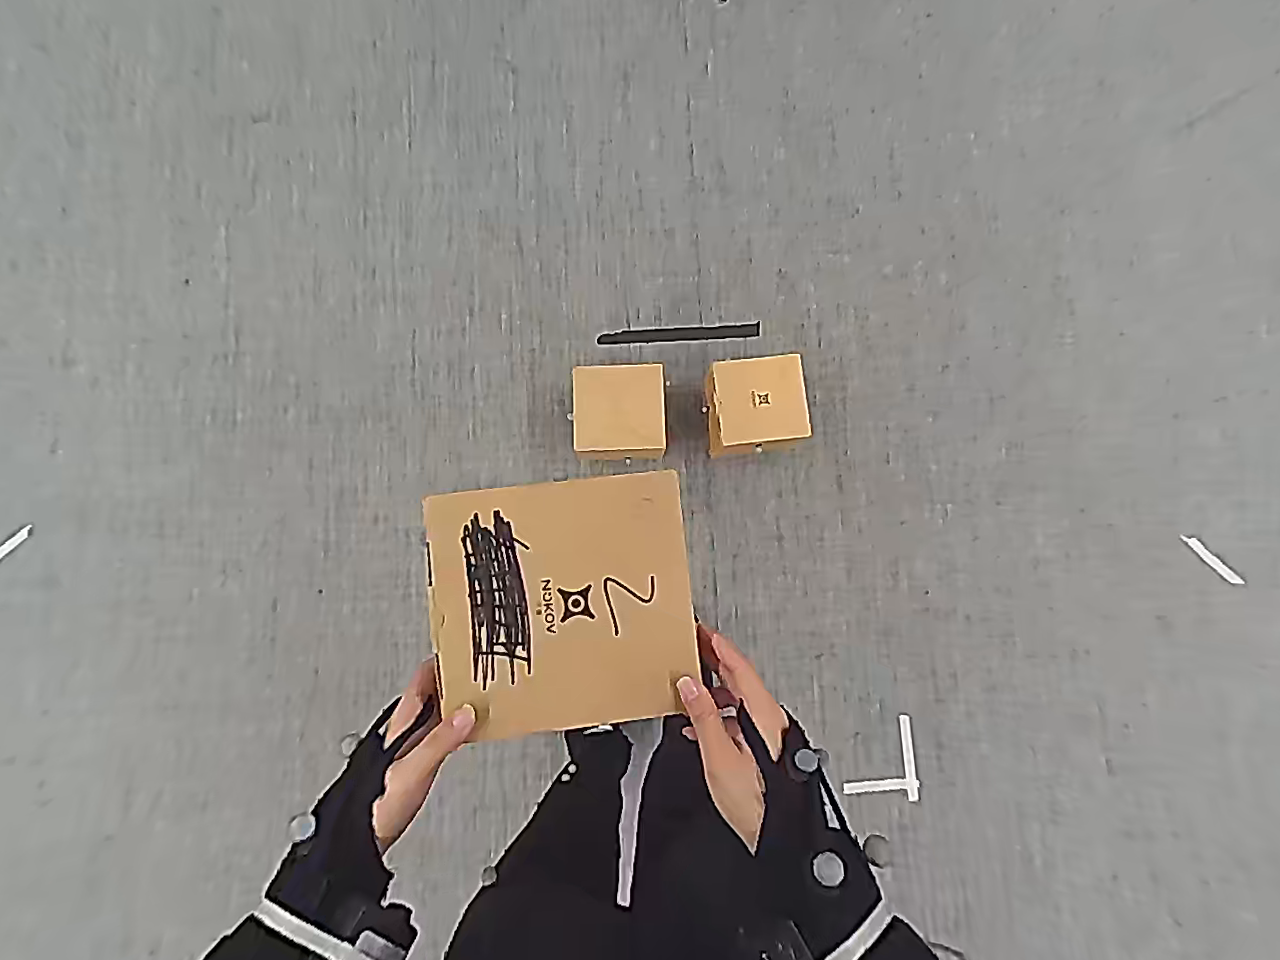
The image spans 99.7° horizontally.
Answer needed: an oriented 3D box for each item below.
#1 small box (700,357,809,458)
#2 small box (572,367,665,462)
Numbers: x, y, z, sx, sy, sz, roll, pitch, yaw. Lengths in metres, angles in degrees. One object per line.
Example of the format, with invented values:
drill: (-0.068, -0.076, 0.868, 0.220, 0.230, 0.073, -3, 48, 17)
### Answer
small box: (0.229, -0.144, 1.118, 0.179, 0.176, 0.168, -7, 85, -1)
small box: (-0.041, -0.129, 1.112, 0.179, 0.176, 0.168, -2, 85, -1)
